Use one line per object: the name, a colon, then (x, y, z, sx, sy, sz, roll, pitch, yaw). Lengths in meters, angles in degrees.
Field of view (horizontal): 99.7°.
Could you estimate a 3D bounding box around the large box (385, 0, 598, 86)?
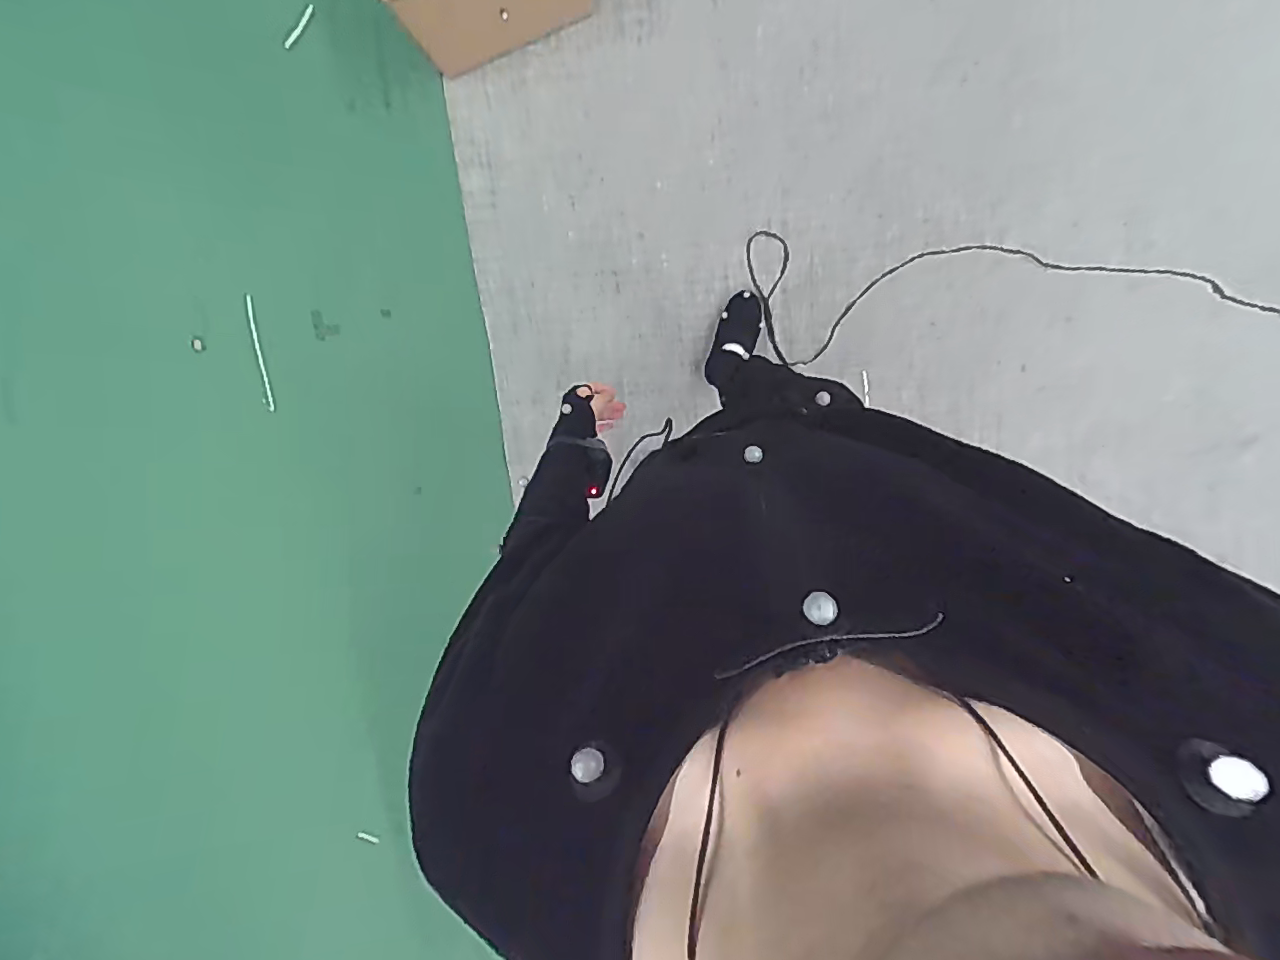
large box: (-0.347, -1.153, 1.156, 0.408, 0.320, 0.320, -19, 99, 9)
